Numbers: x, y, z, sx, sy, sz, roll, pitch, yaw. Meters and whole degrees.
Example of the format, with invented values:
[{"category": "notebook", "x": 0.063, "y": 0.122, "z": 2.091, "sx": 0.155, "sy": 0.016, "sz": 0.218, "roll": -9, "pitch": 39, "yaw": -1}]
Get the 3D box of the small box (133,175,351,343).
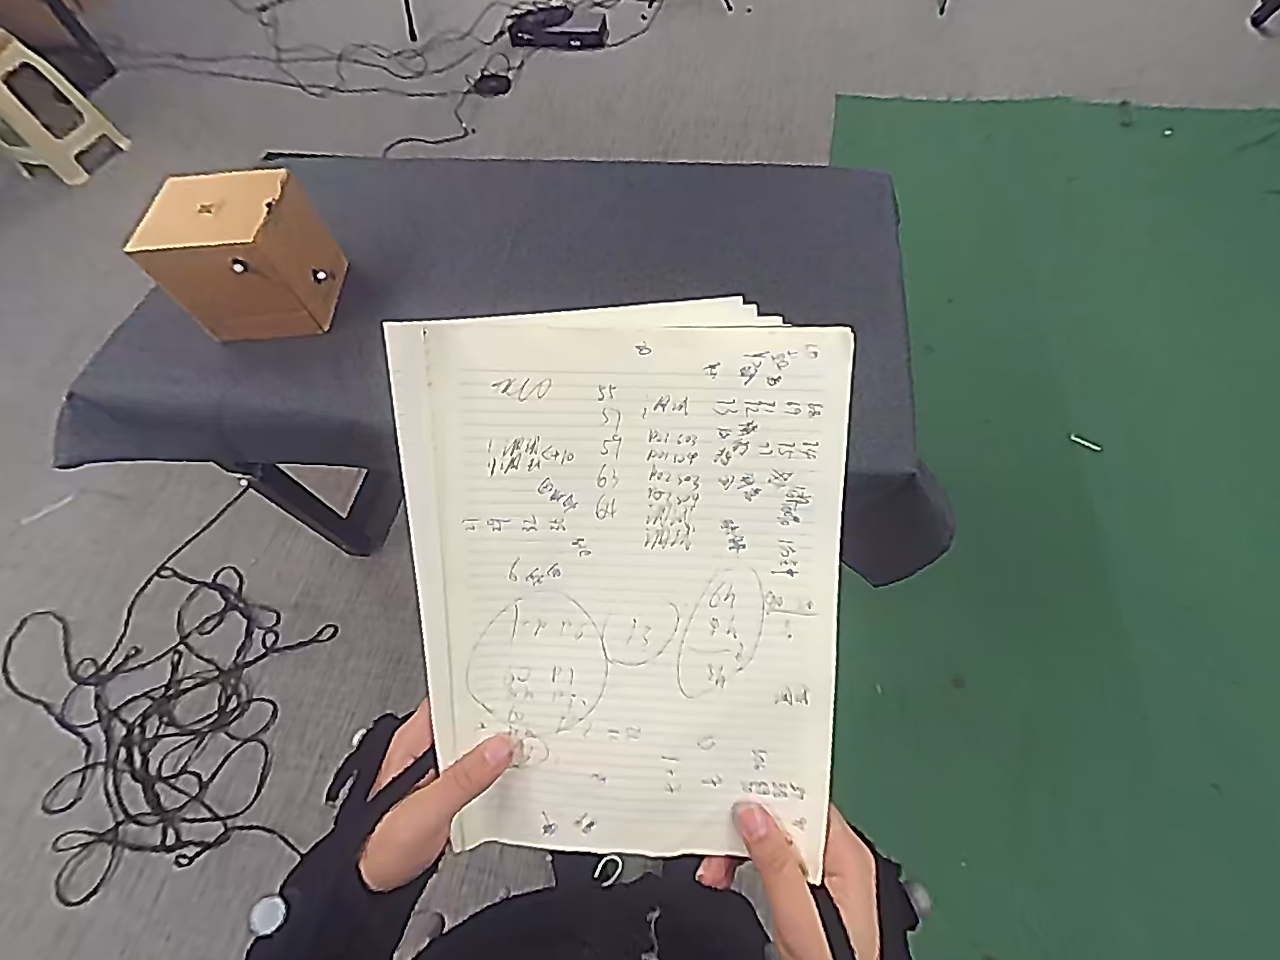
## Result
[{"category": "small box", "x": -0.575, "y": -0.323, "z": 0.812, "sx": 0.179, "sy": 0.176, "sz": 0.168, "roll": -5, "pitch": 59, "yaw": 1}]
